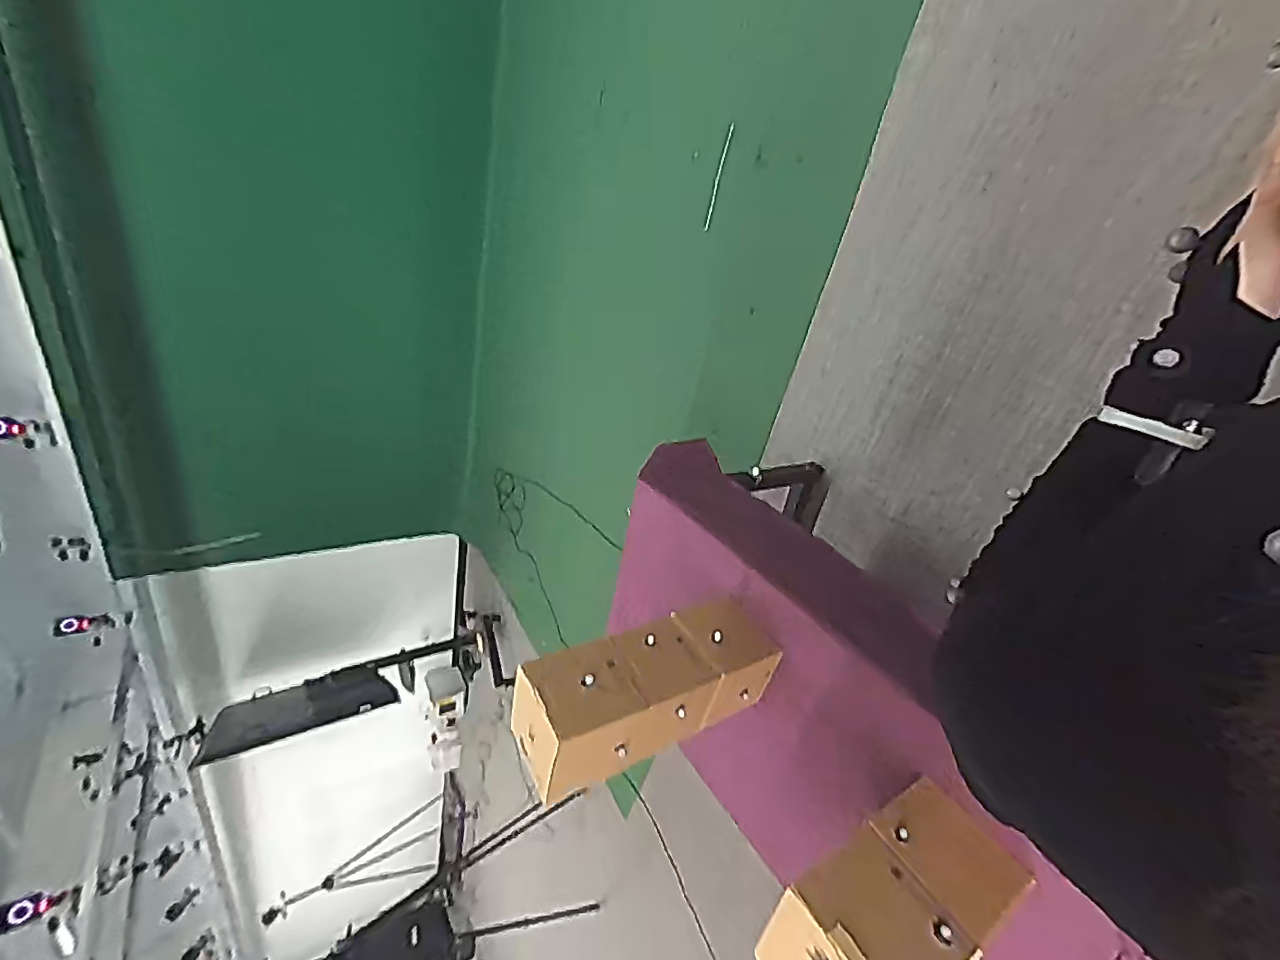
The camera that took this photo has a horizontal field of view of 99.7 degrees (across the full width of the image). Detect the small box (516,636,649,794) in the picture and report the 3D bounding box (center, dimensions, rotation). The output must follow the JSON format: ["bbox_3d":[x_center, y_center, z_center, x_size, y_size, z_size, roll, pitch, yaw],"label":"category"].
[{"bbox_3d":[-0.103,0.408,0.964,0.168,0.176,0.179,46,131,44],"label":"small box"}]

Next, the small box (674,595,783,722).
[{"bbox_3d":[0.169,0.366,1.142,0.179,0.176,0.168,47,131,42],"label":"small box"}]

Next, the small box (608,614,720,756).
[{"bbox_3d":[0.032,0.390,1.057,0.168,0.176,0.179,47,133,43],"label":"small box"}]

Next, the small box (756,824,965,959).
[{"bbox_3d":[0.287,0.603,0.712,0.168,0.176,0.179,42,130,46],"label":"small box"}]

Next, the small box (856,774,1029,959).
[{"bbox_3d":[0.424,0.583,0.801,0.179,0.176,0.168,43,129,46],"label":"small box"}]
